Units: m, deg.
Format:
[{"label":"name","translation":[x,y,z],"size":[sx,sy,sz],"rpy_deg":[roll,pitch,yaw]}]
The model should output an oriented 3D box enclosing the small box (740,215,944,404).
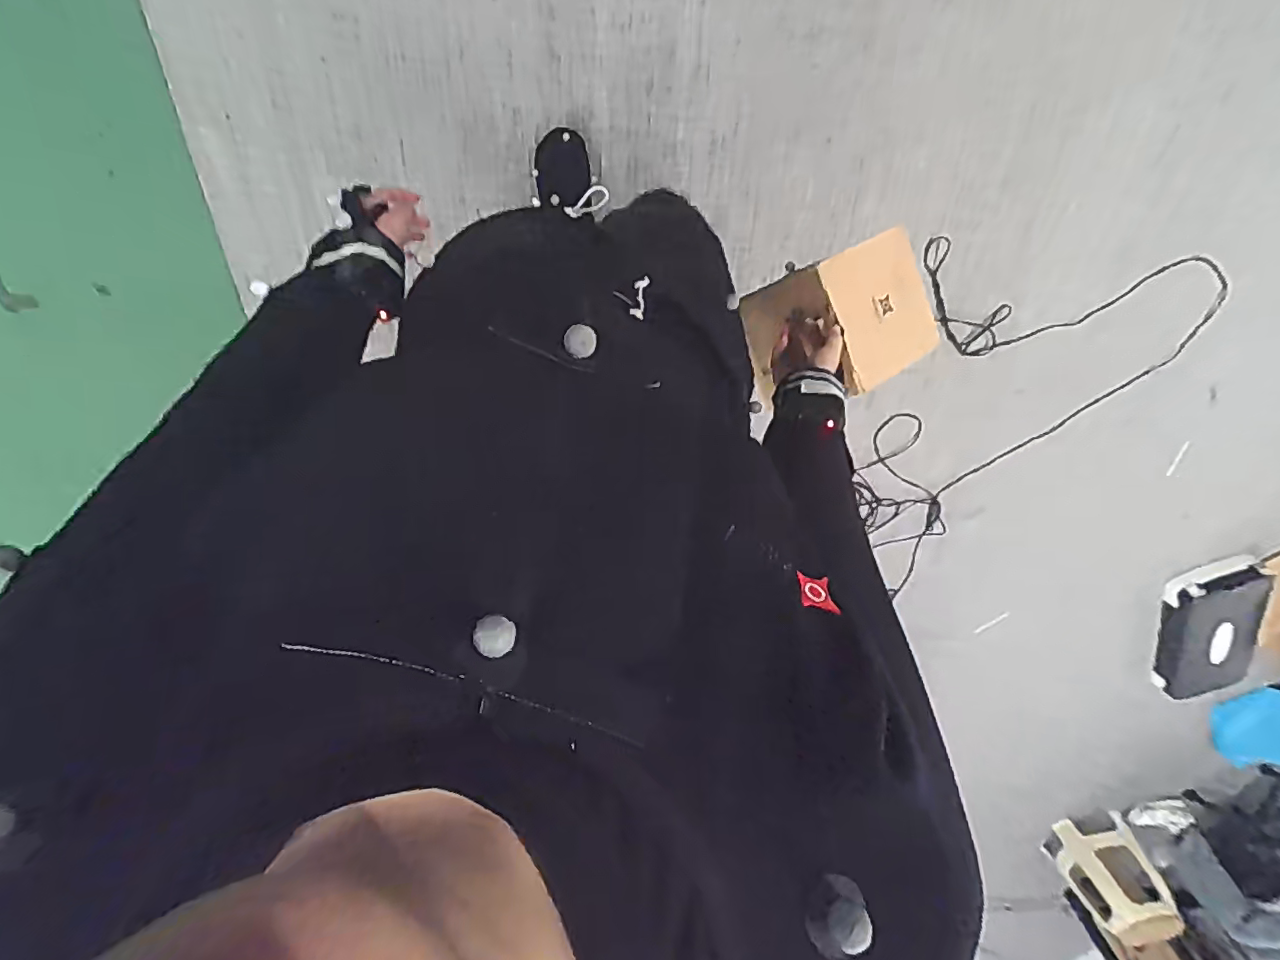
[{"label":"small box","translation":[0.256,-0.214,0.716],"size":[0.179,0.176,0.168],"rpy_deg":[-33,106,-26]}]
